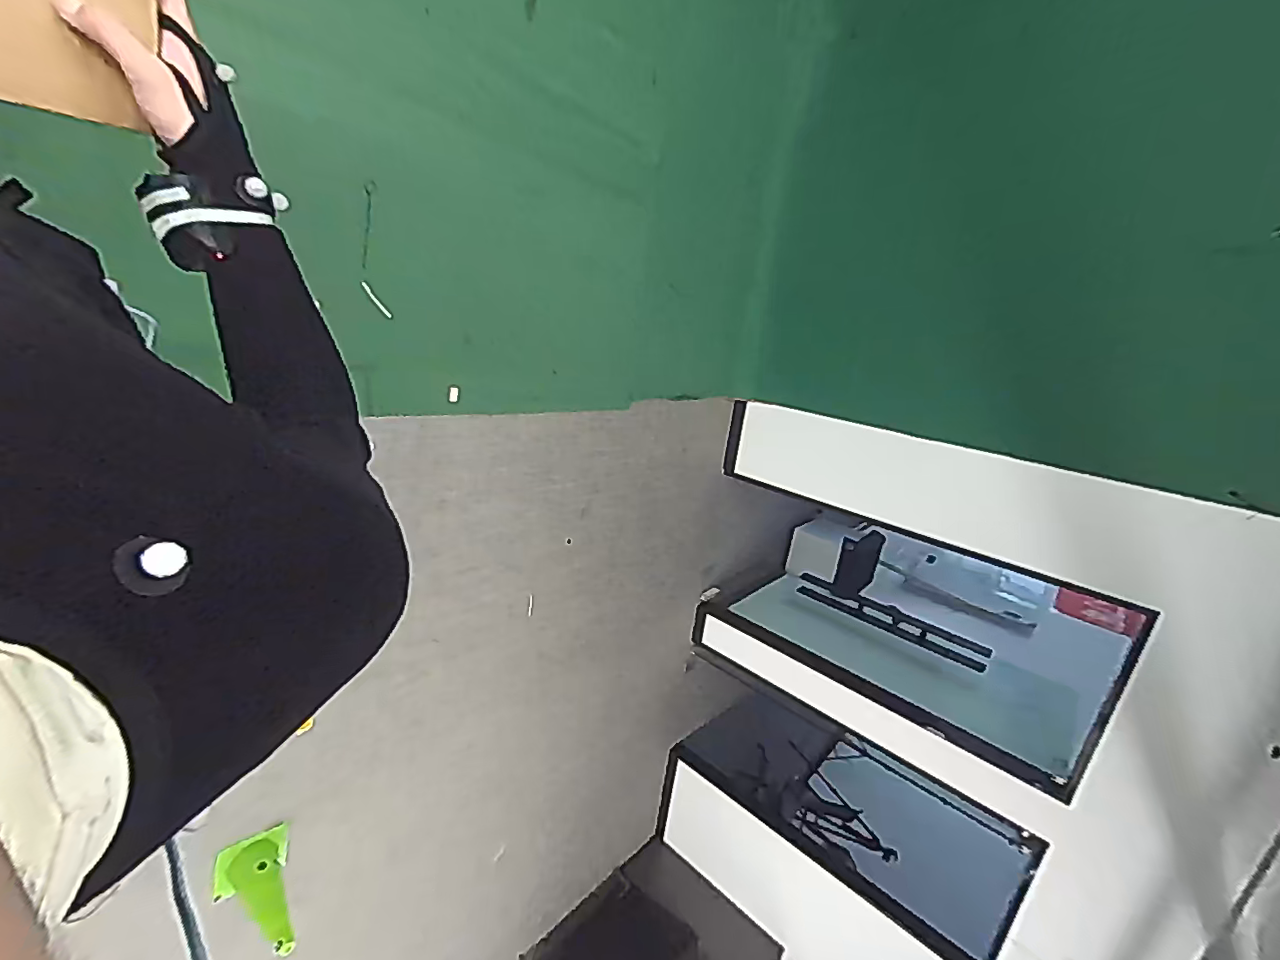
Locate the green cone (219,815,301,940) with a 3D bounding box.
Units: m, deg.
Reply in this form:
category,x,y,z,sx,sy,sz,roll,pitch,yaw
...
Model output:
category,x,y,z,sx,sy,sz,roll,pitch,yaw
green cone,-1.145,1.284,1.692,0.200,0.368,0.202,-3,108,-51
